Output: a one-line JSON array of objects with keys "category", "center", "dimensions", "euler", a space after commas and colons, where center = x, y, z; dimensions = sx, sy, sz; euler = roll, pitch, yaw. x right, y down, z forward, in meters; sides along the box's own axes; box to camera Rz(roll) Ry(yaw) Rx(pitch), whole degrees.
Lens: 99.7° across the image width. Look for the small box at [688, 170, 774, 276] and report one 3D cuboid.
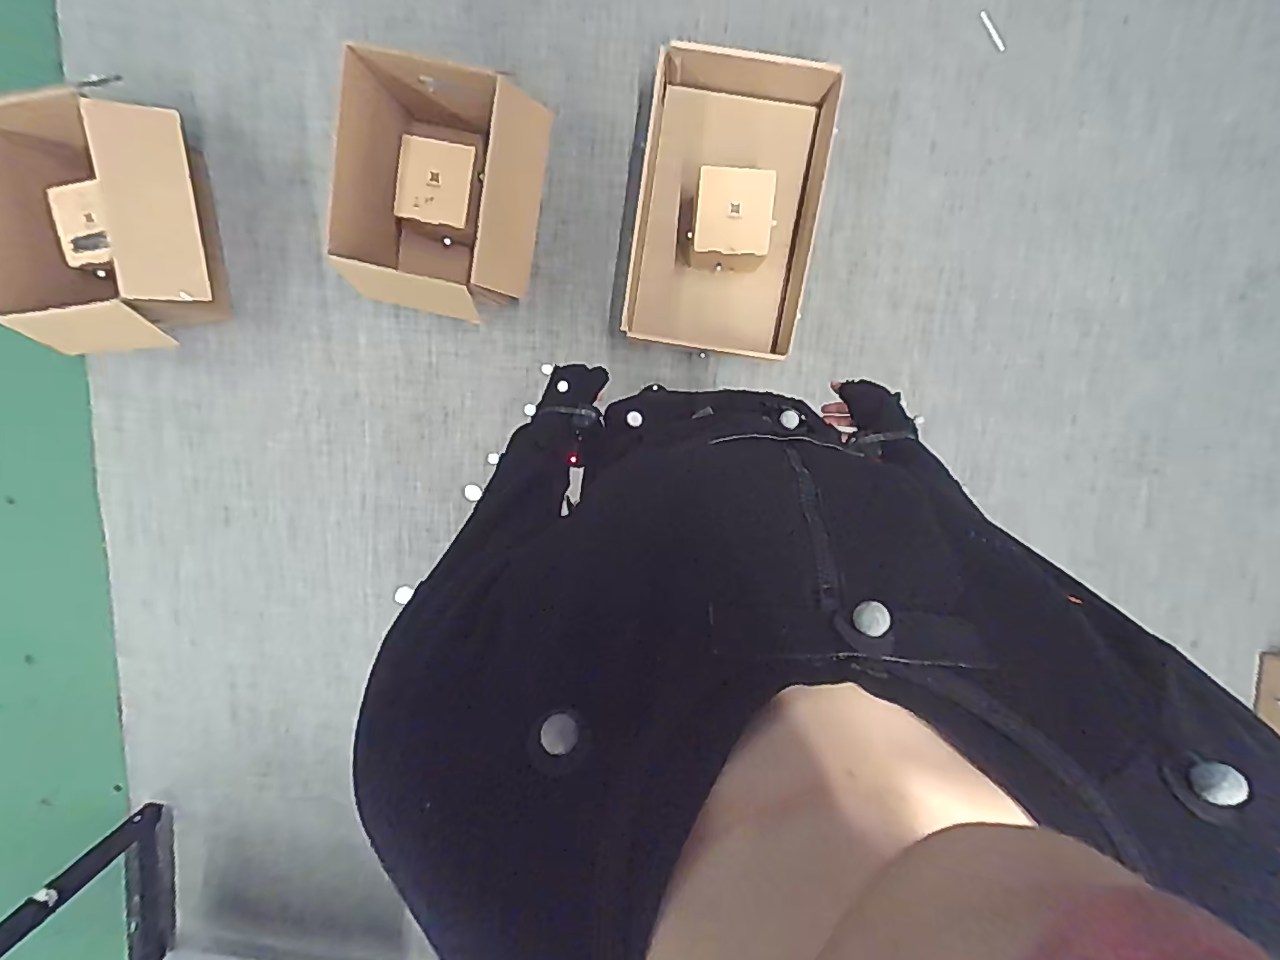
[{"category": "small box", "center": [0.202, -0.584, 1.246], "dimensions": [0.168, 0.176, 0.179], "euler": [4, 99, 1]}]
